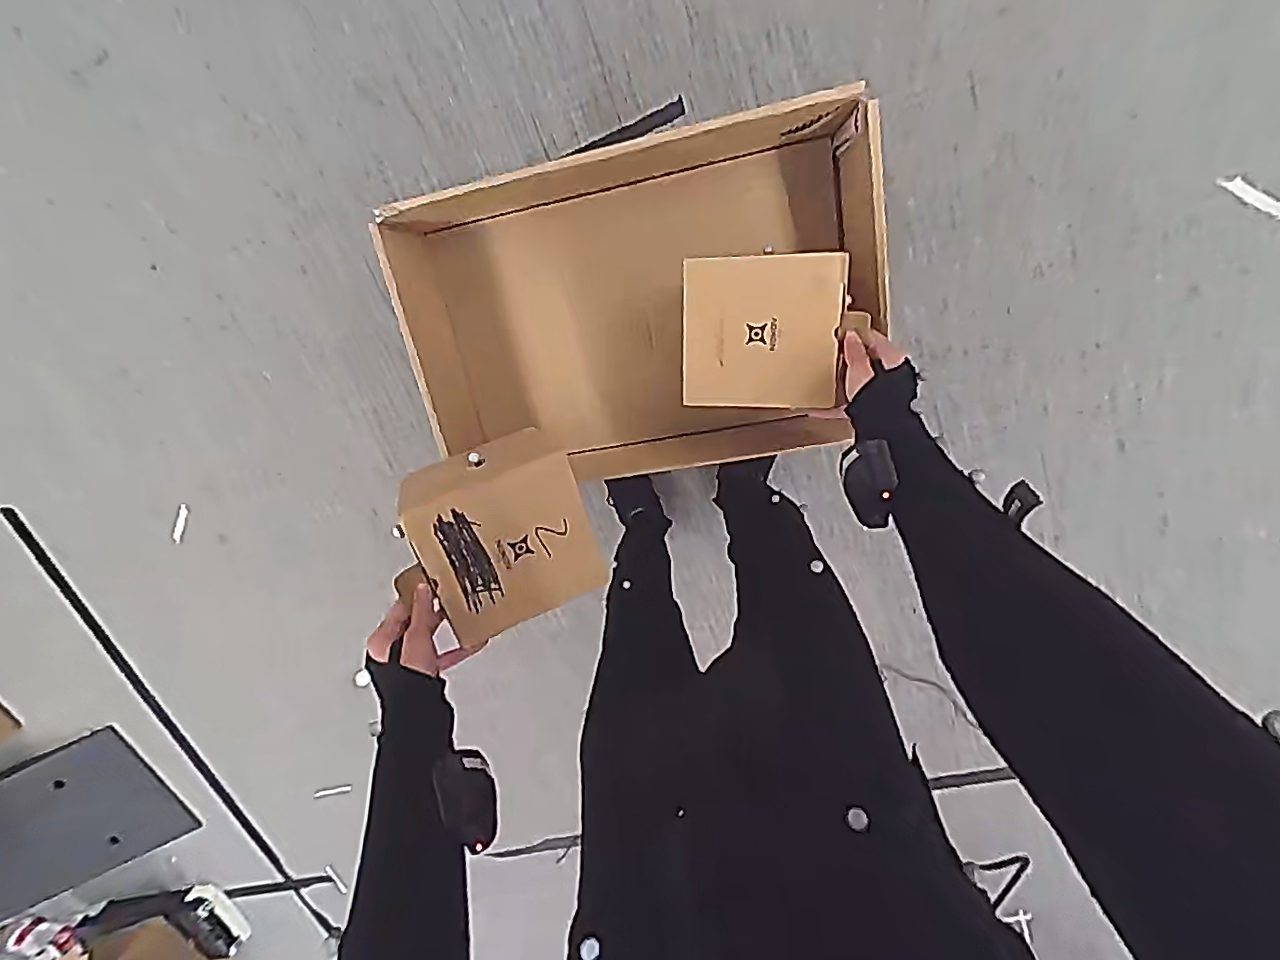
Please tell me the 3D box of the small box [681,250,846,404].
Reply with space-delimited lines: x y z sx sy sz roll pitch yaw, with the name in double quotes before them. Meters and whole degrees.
"small box" 0.149 -0.191 0.680 0.179 0.176 0.168 2 106 12
